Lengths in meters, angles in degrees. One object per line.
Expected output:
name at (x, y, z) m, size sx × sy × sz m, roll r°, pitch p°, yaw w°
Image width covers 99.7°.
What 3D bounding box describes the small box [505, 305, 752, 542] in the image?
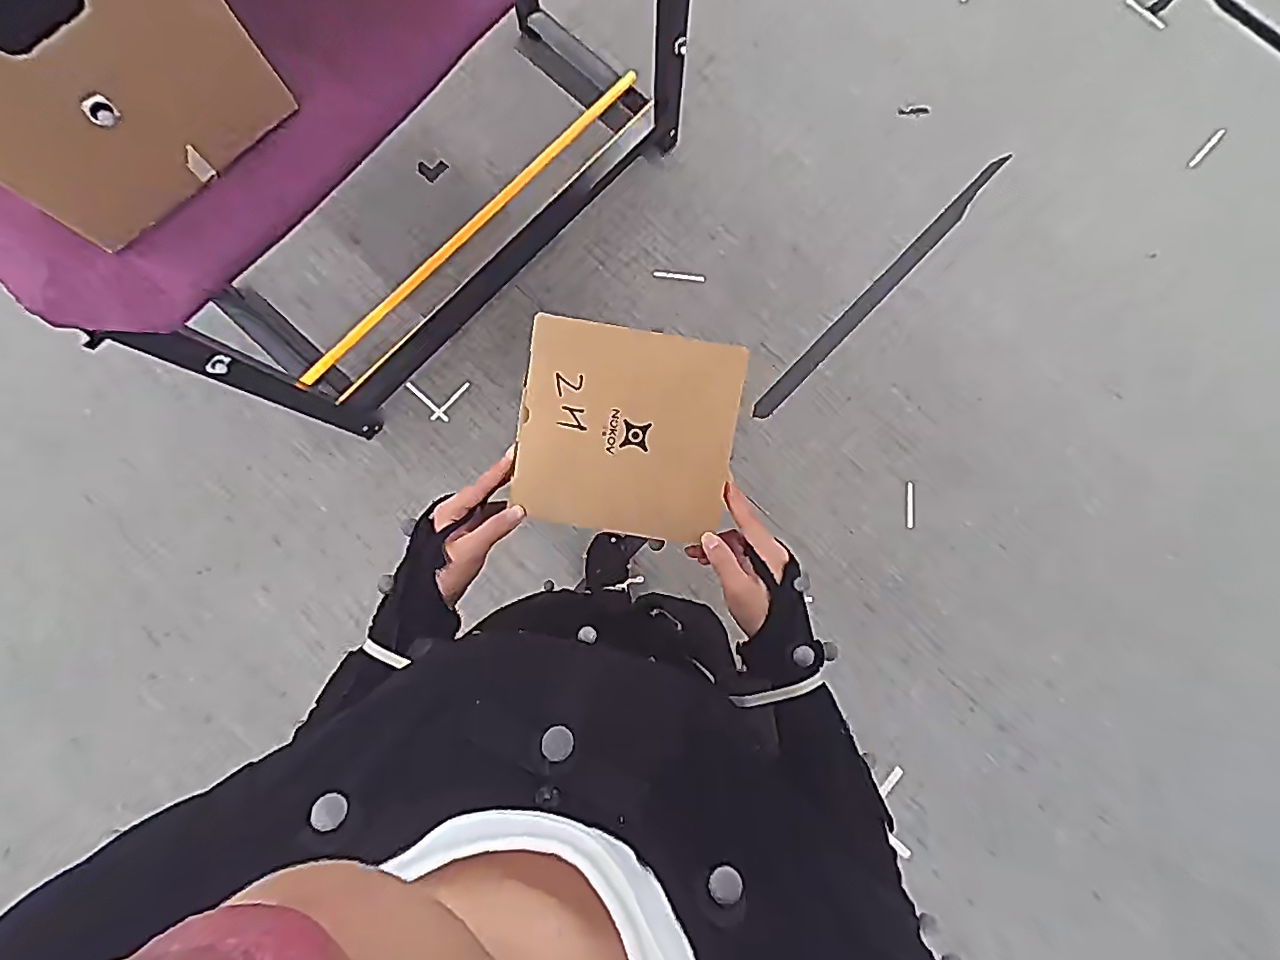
small box at (-0.009, -0.050, 0.506) m, size 0.179 × 0.176 × 0.168 m, roll 9°, pitch 95°, yaw 1°
